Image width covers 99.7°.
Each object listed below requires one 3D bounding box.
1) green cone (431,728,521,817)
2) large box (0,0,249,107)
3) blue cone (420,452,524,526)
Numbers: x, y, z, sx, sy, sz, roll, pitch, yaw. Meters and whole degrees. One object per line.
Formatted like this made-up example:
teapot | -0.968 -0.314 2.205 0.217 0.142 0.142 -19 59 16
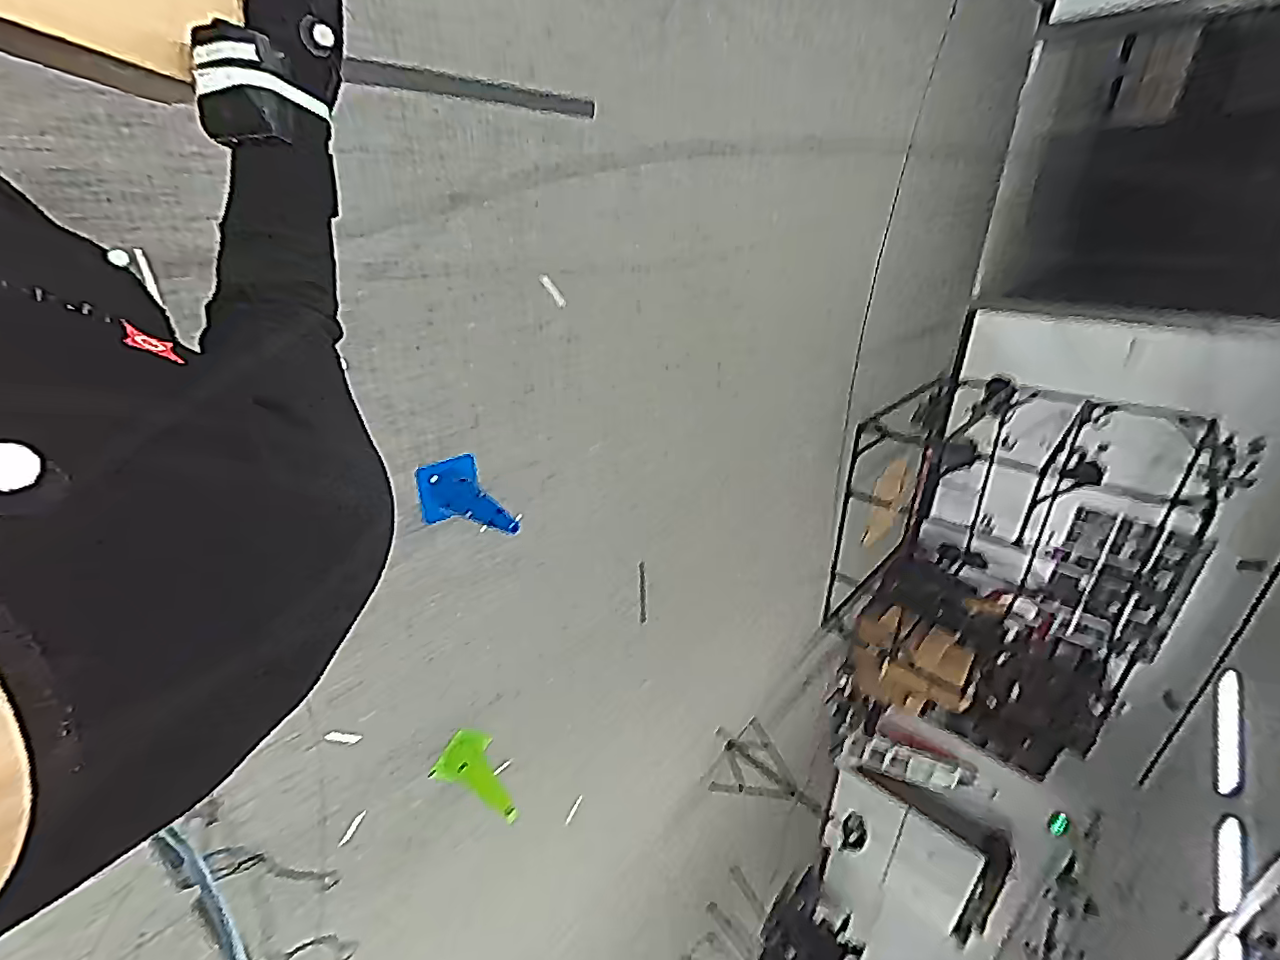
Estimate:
green cone | -0.570 1.125 2.011 0.202 0.368 0.200 -58 142 -15
large box | -0.497 -0.460 0.296 0.408 0.320 0.320 -7 119 -48
blue cone | -0.486 0.064 1.625 0.192 0.380 0.193 -23 124 -43
